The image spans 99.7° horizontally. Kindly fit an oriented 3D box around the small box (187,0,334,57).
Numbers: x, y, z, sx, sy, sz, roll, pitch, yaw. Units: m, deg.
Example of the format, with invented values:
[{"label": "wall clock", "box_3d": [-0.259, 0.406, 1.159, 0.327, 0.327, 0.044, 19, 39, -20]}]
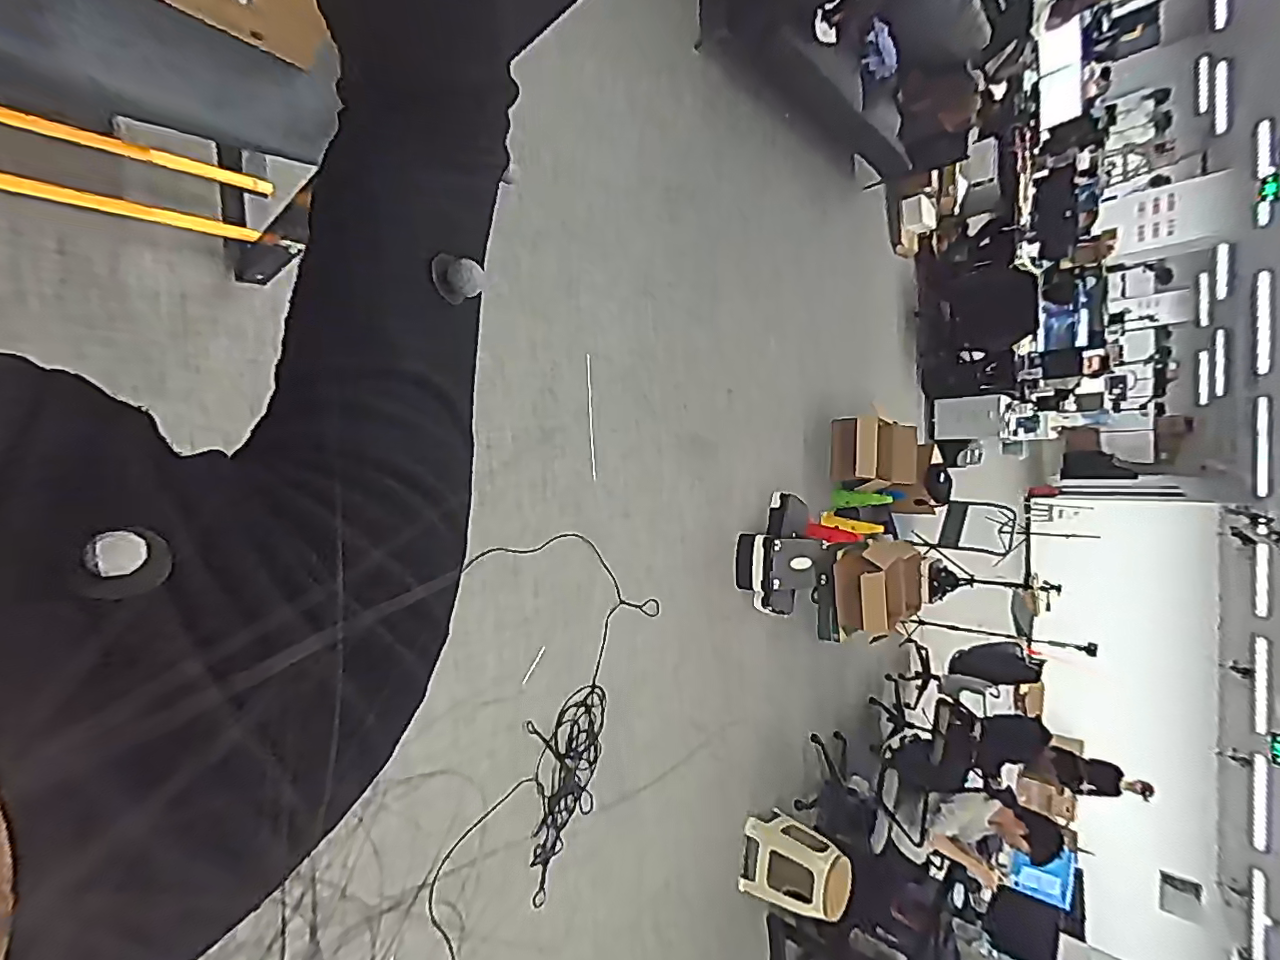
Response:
[{"label": "small box", "box_3d": [-0.432, -0.623, 0.587, 0.168, 0.176, 0.179, 0, 90, -48]}]
